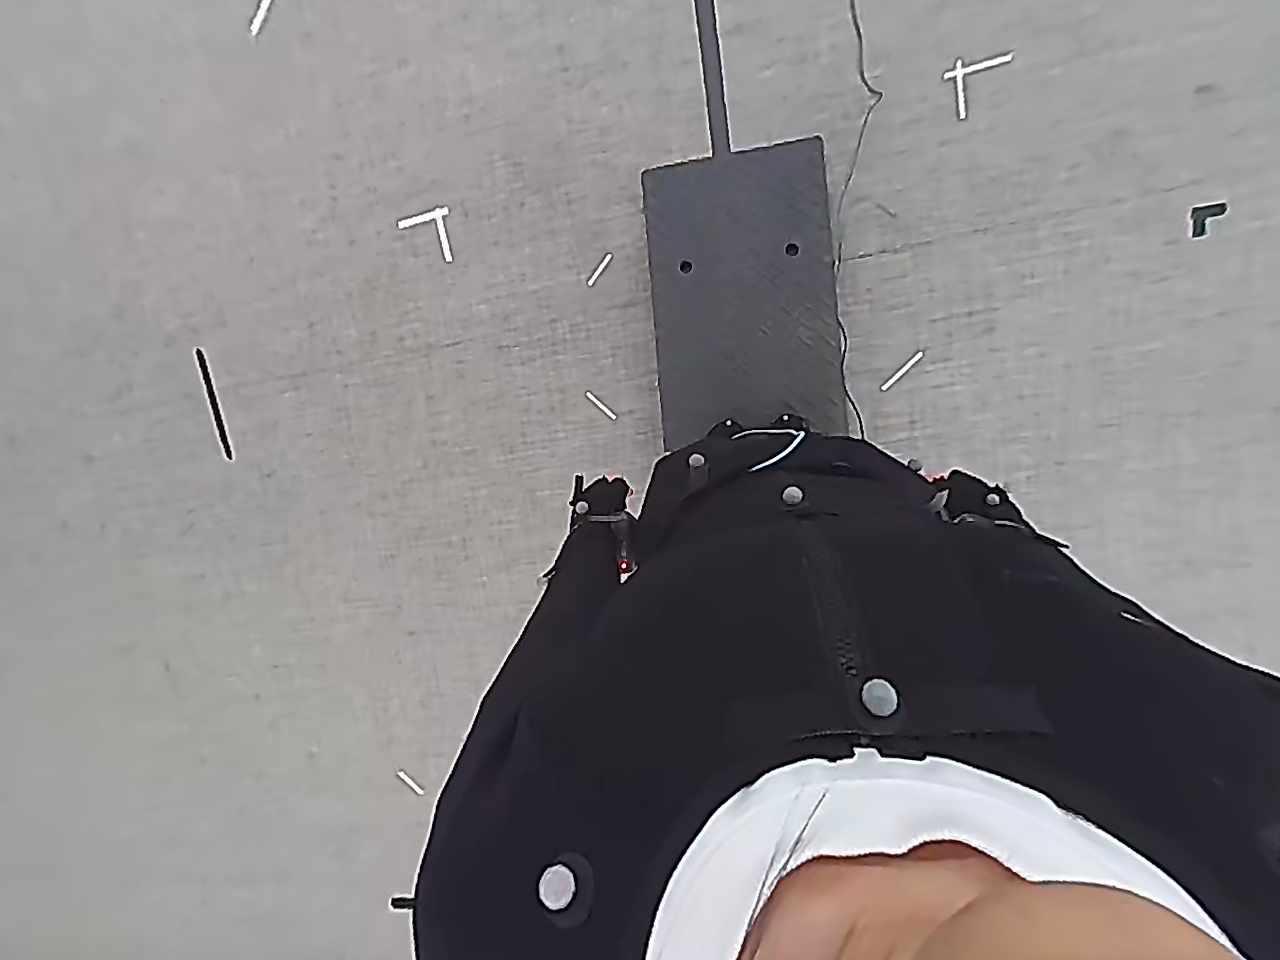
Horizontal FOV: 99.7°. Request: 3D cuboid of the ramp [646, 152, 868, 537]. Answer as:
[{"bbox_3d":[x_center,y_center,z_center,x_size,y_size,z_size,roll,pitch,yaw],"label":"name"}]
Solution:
[{"bbox_3d":[0.301,-0.362,1.478,0.509,0.206,0.991,-8,96,13],"label":"ramp"}]
